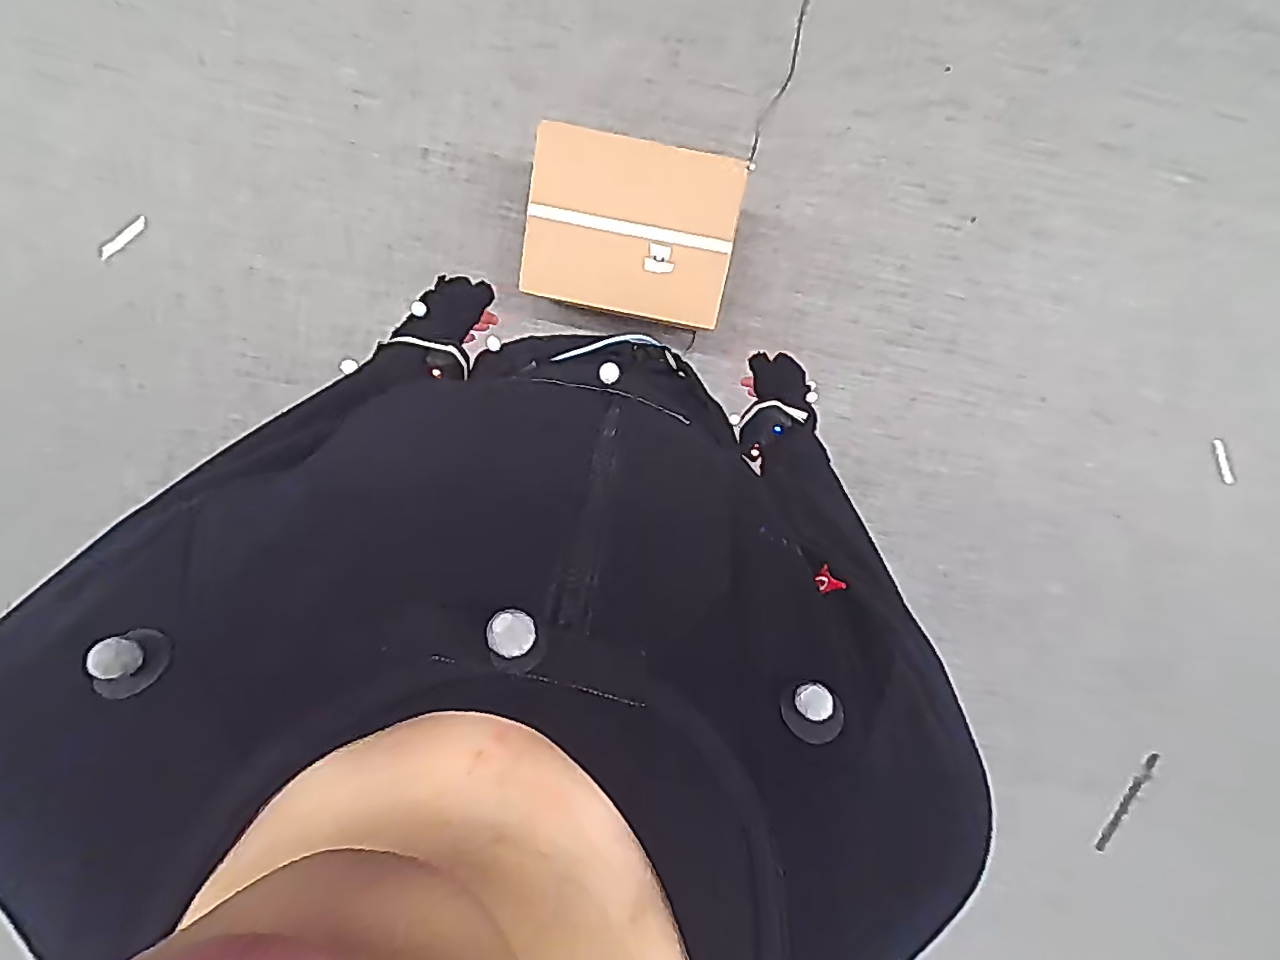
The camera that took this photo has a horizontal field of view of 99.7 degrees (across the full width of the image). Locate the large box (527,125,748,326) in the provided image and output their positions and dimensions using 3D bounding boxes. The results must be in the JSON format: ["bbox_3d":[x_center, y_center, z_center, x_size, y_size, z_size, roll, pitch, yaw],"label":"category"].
[{"bbox_3d":[-0.013,-0.536,1.212,0.408,0.320,0.320,10,106,-3],"label":"large box"}]
